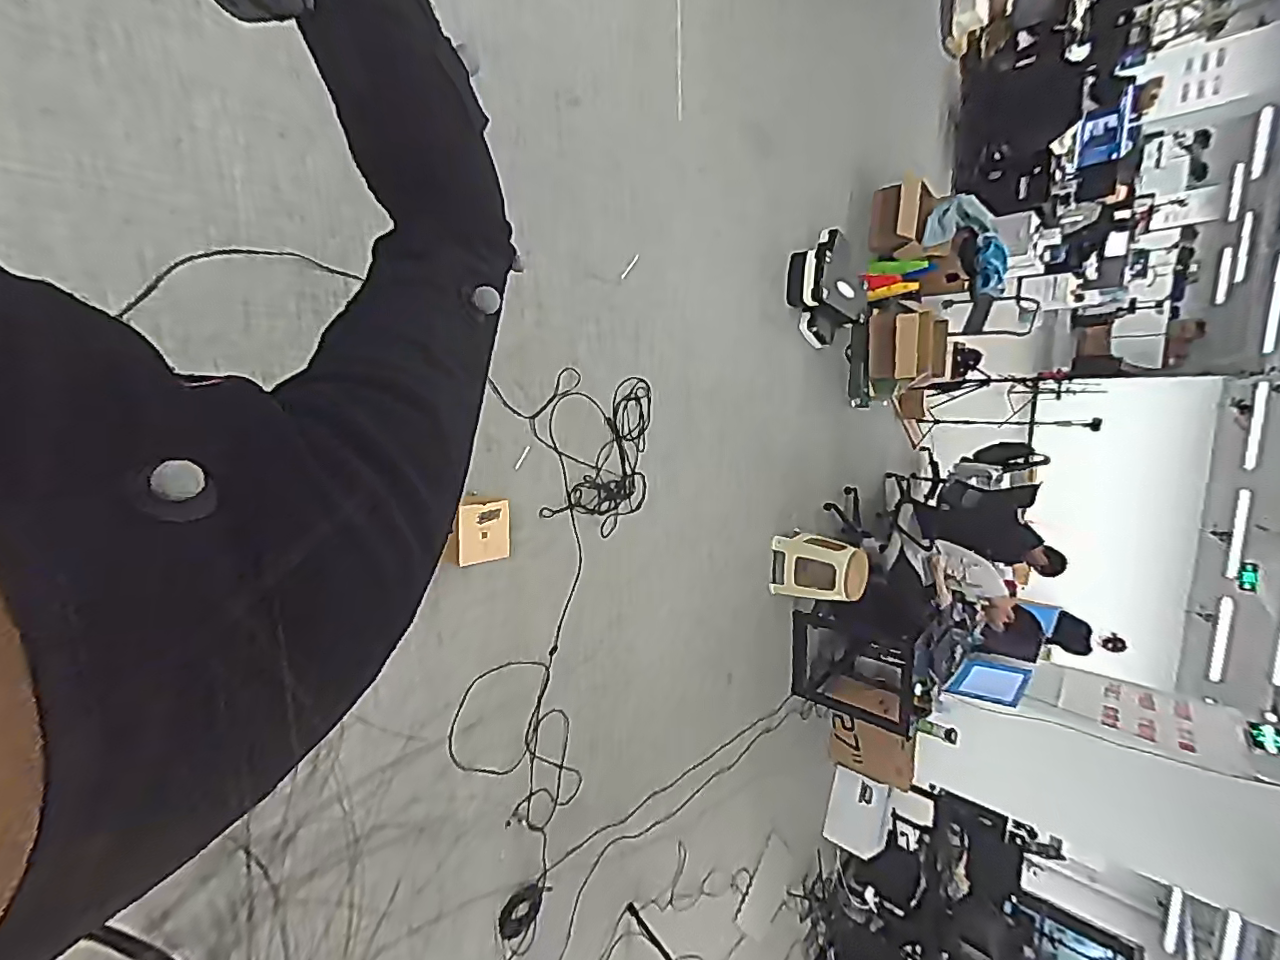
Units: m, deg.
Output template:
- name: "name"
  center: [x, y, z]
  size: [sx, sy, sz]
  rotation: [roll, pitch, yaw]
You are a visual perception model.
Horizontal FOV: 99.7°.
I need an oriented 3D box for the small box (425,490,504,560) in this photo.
- name: "small box"
  center: [-0.523, 0.125, 1.605]
  size: [0.168, 0.176, 0.179]
  rotation: [-6, 101, -48]
